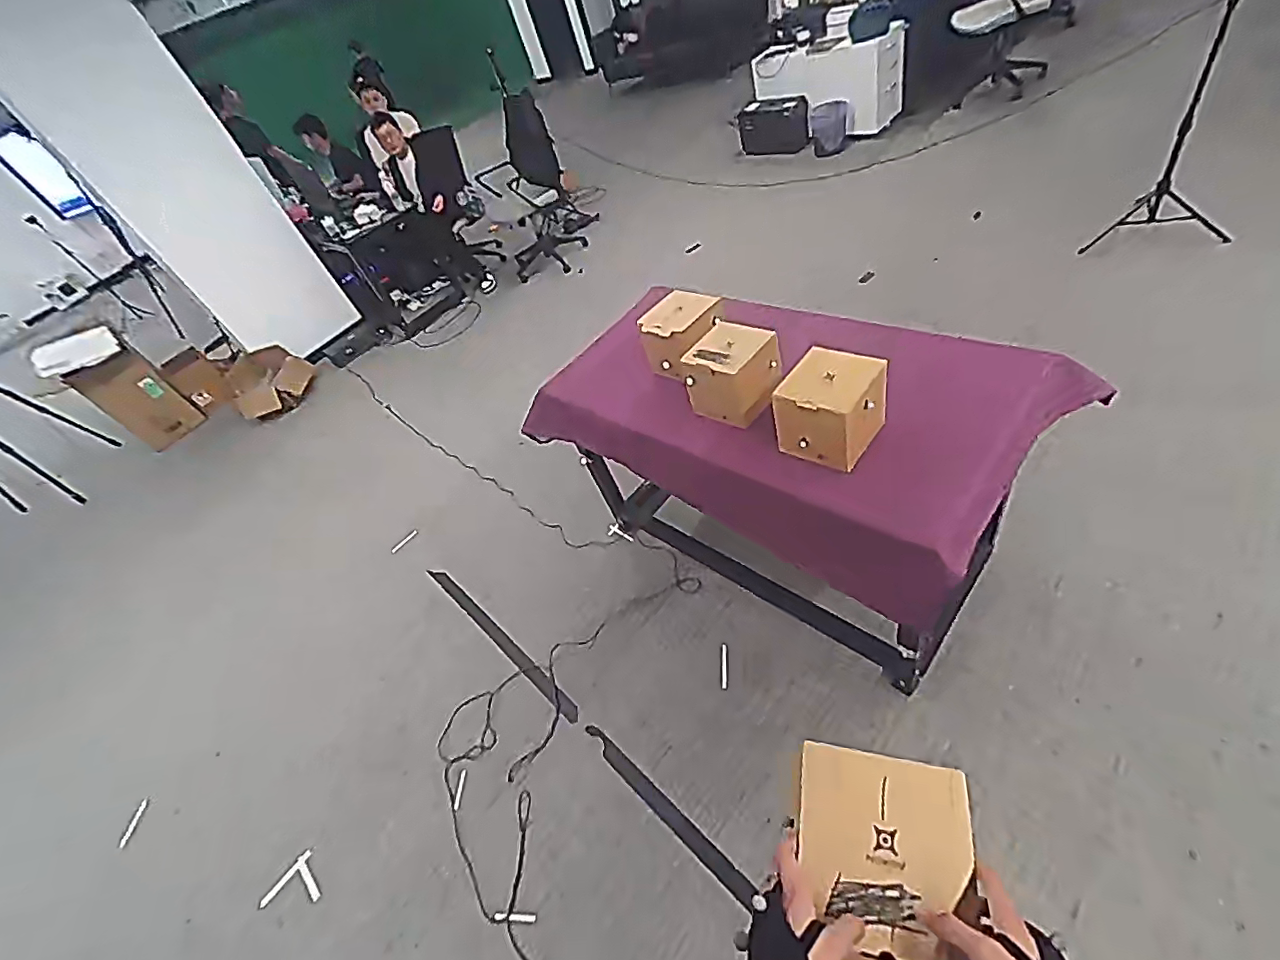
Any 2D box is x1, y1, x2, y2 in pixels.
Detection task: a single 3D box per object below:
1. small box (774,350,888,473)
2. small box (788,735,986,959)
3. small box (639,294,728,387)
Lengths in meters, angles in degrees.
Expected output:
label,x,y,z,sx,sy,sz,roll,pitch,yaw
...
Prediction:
label,x,y,z,sx,sy,sz,roll,pitch,yaw
small box,0.409,-0.148,1.159,0.168,0.176,0.179,24,61,38
small box,0.258,0.406,0.603,0.168,0.176,0.179,5,57,14
small box,0.128,-0.390,1.507,0.168,0.176,0.179,25,62,39
